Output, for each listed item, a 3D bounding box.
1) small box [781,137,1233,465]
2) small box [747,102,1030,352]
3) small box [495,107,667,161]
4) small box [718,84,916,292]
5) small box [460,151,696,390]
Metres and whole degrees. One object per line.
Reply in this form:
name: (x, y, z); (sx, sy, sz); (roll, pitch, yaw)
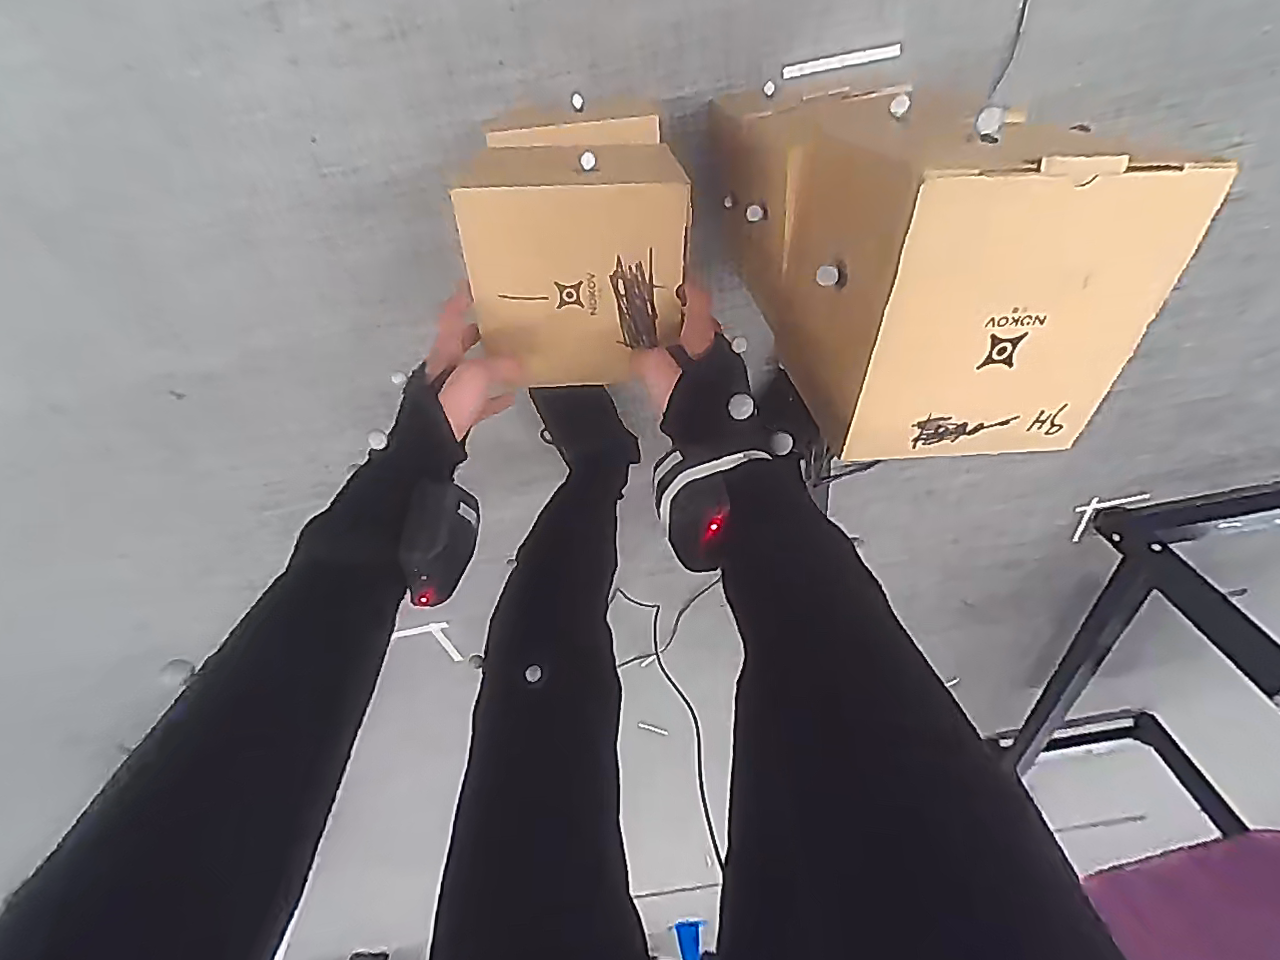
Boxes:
small box: (0.210, -0.131, 0.378); (0.168, 0.176, 0.179); (-2, 129, -3)
small box: (0.200, -0.237, 0.503); (0.179, 0.176, 0.168); (-8, 130, 1)
small box: (-0.058, -0.316, 0.620); (0.168, 0.176, 0.179); (-5, 130, 0)
small box: (0.188, -0.341, 0.627); (0.168, 0.176, 0.179); (-9, 130, 3)
small box: (-0.051, -0.199, 0.504); (0.179, 0.176, 0.168); (-2, 130, -3)
